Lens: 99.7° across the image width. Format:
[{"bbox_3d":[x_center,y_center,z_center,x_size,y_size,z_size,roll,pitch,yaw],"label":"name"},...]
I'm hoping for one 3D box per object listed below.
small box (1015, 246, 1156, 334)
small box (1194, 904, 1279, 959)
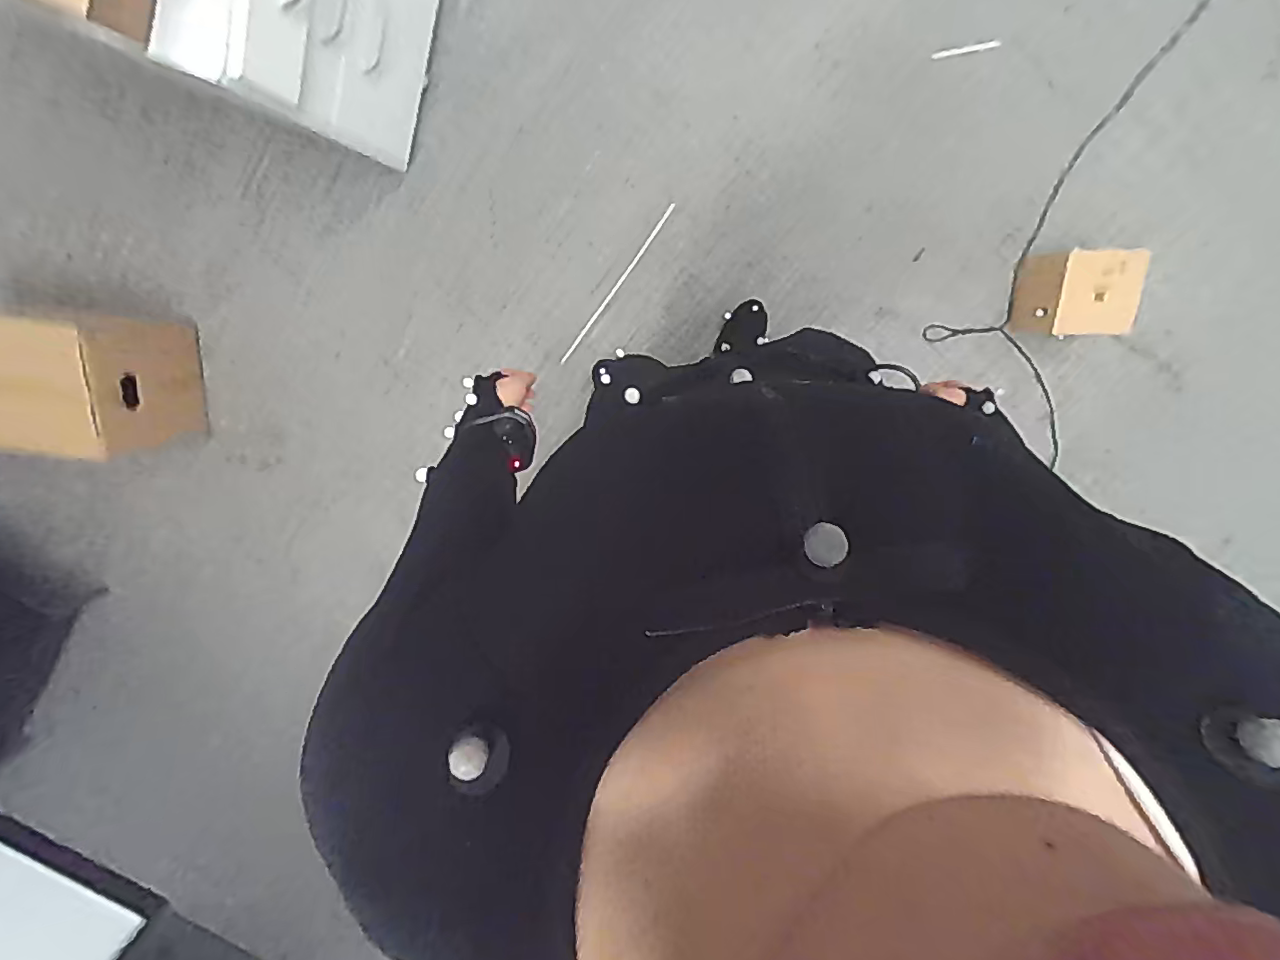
[{"bbox_3d":[0.986,-0.425,1.216,0.168,0.176,0.179,0,107,4],"label":"small box"},{"bbox_3d":[1.701,1.316,1.473,0.179,0.176,0.168,42,105,-6],"label":"small box"}]
